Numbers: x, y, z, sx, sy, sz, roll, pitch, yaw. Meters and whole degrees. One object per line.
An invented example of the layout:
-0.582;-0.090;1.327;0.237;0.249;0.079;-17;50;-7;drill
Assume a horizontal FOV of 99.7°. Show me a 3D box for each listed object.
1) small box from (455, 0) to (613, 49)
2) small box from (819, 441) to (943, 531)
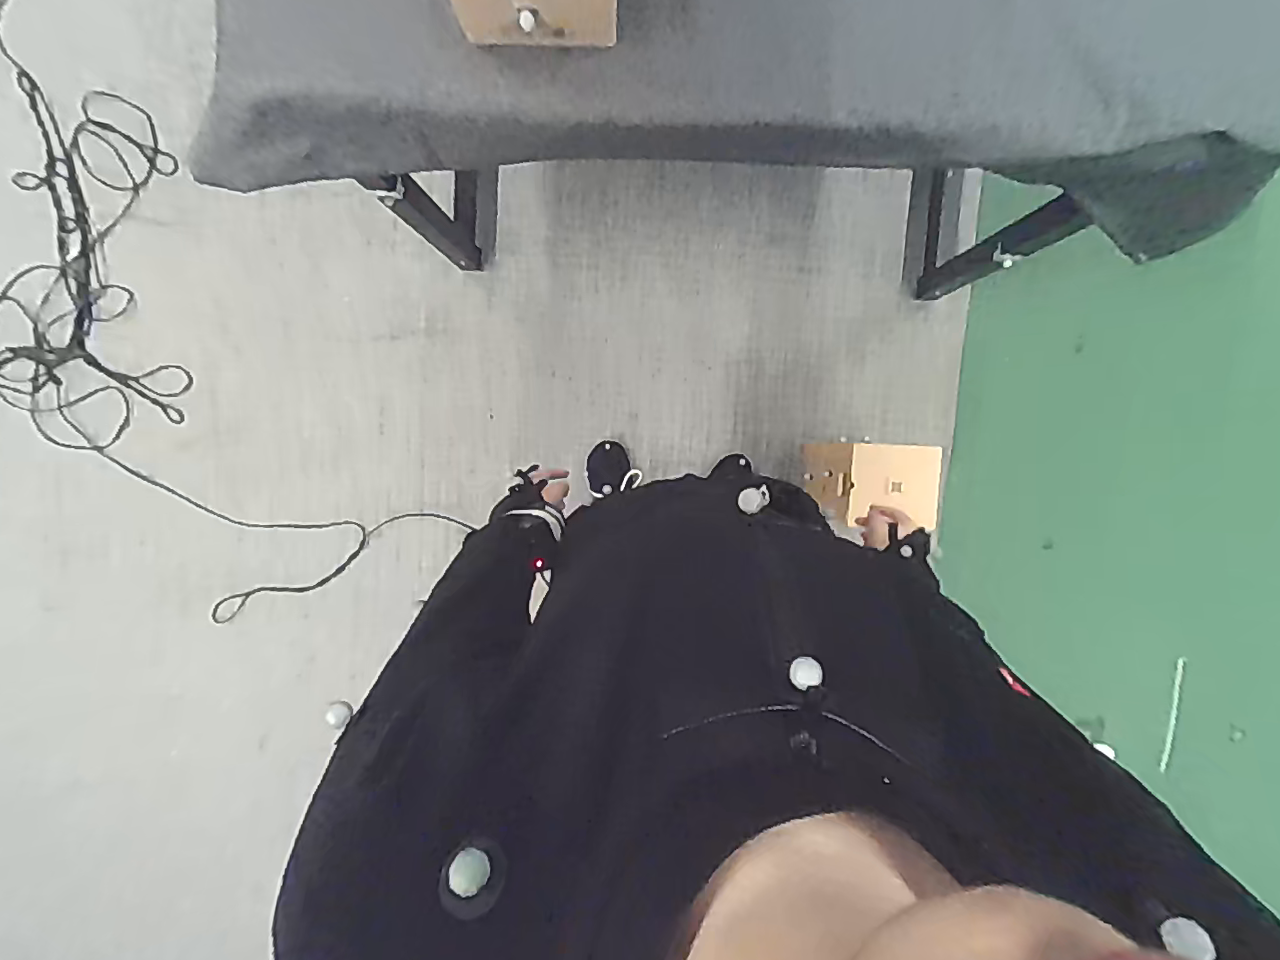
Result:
-0.110;-0.561;0.510;0.168;0.176;0.179;2;95;1;small box
0.488;0.006;1.115;0.179;0.176;0.168;2;95;1;small box
